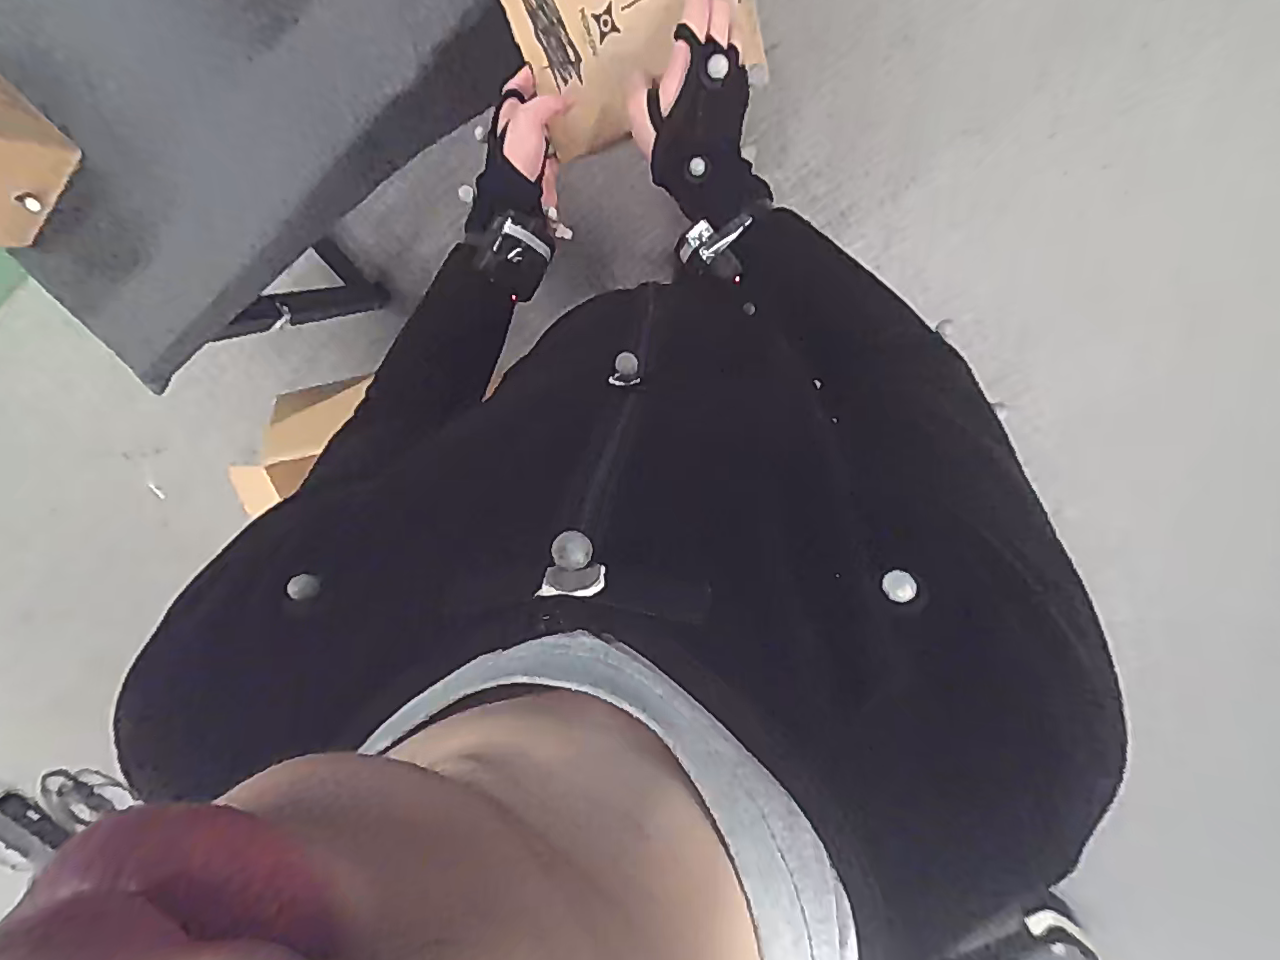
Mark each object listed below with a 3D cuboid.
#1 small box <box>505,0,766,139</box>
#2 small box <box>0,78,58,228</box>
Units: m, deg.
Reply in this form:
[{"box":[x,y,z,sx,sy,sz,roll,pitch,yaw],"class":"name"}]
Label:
[{"box":[-0.001,-0.444,0.505,0.179,0.176,0.168,-1,124,32],"class":"small box"},{"box":[-0.847,-0.415,0.617,0.179,0.176,0.168,-39,106,16],"class":"small box"}]
